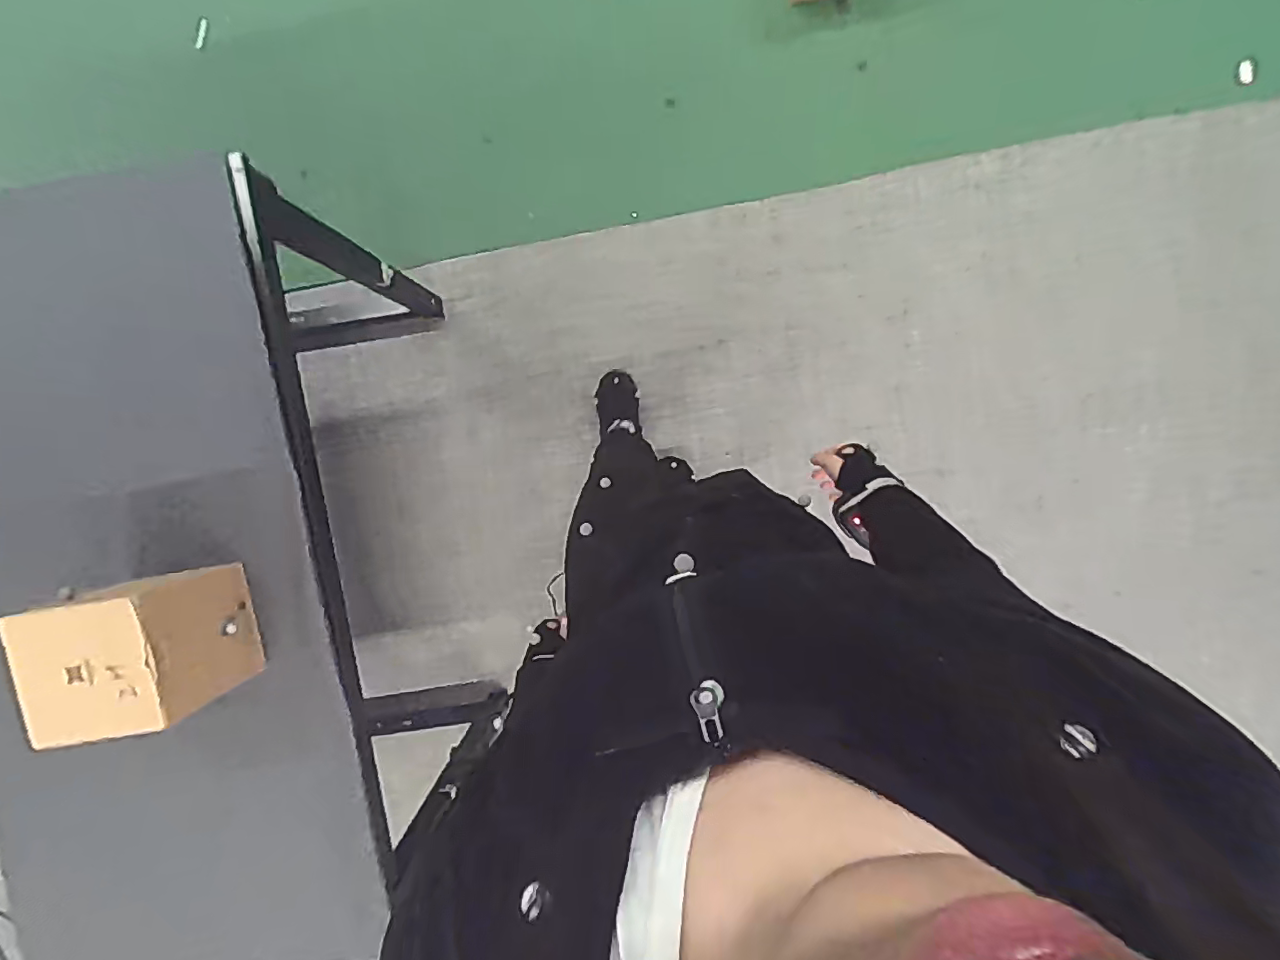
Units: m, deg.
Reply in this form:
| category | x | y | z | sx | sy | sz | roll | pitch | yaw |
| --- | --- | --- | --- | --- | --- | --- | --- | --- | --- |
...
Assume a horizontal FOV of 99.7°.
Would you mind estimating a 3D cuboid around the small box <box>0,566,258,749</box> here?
| category | x | y | z | sx | sy | sz | roll | pitch | yaw |
| --- | --- | --- | --- | --- | --- | --- | --- | --- | --- |
| small box | -0.656 | 0.220 | 0.709 | 0.179 | 0.176 | 0.168 | -10 | 95 | 3 |
